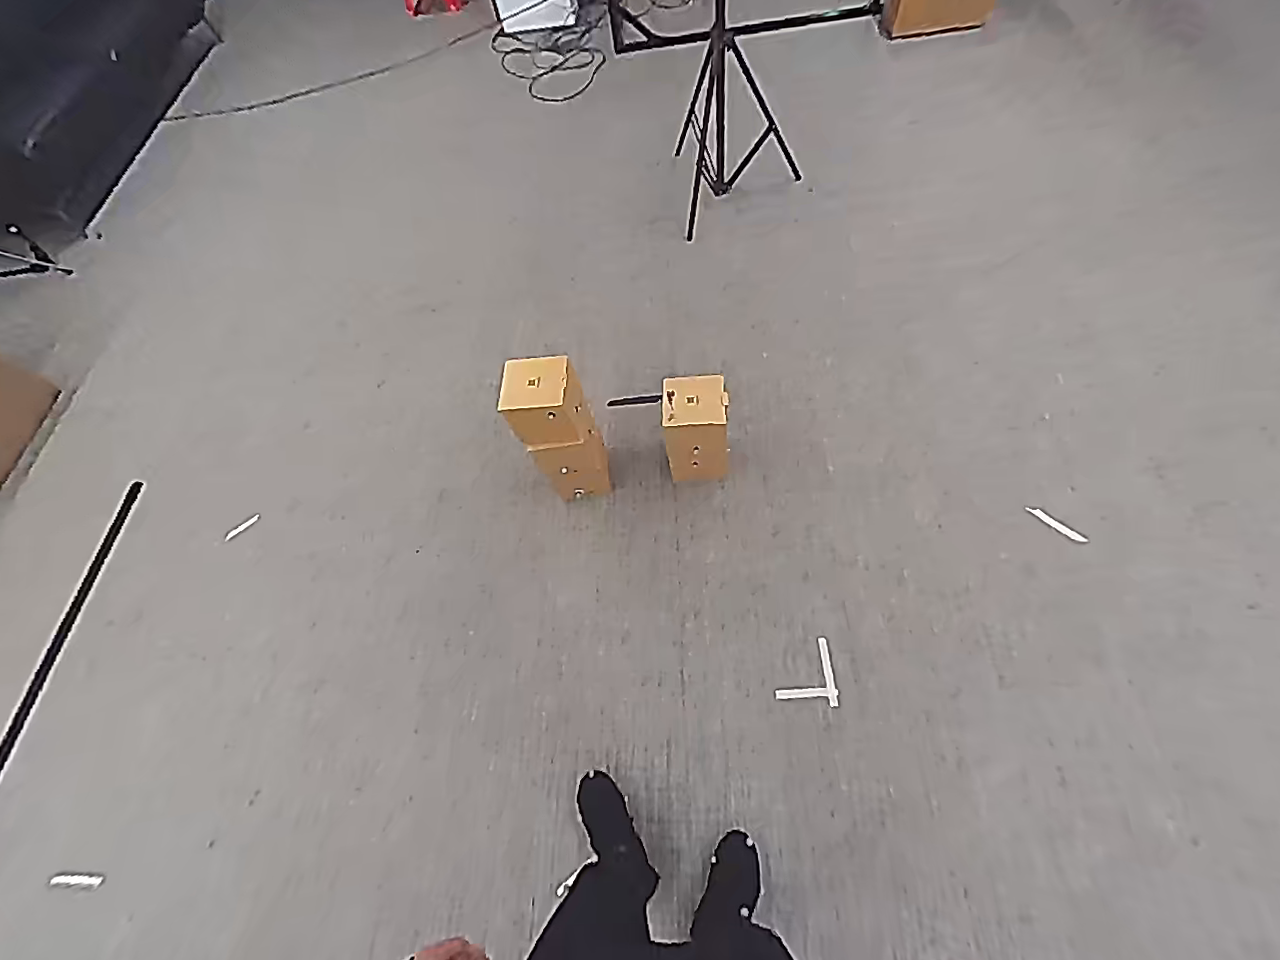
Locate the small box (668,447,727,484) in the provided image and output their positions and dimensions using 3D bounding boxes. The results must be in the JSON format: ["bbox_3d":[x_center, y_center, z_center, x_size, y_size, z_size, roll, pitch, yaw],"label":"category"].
[{"bbox_3d":[0.184,-0.094,1.713,0.179,0.176,0.168,-2,62,7],"label":"small box"}]

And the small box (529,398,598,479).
[{"bbox_3d":[-0.223,-0.122,1.604,0.168,0.176,0.179,-7,62,6],"label":"small box"}]

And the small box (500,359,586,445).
[{"bbox_3d":[-0.258,-0.207,1.469,0.179,0.176,0.168,-3,62,8],"label":"small box"}]

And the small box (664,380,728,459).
[{"bbox_3d":[0.162,-0.172,1.570,0.179,0.176,0.168,-1,62,7],"label":"small box"}]

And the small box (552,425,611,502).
[{"bbox_3d":[-0.193,-0.051,1.748,0.168,0.176,0.179,-9,61,4],"label":"small box"}]
